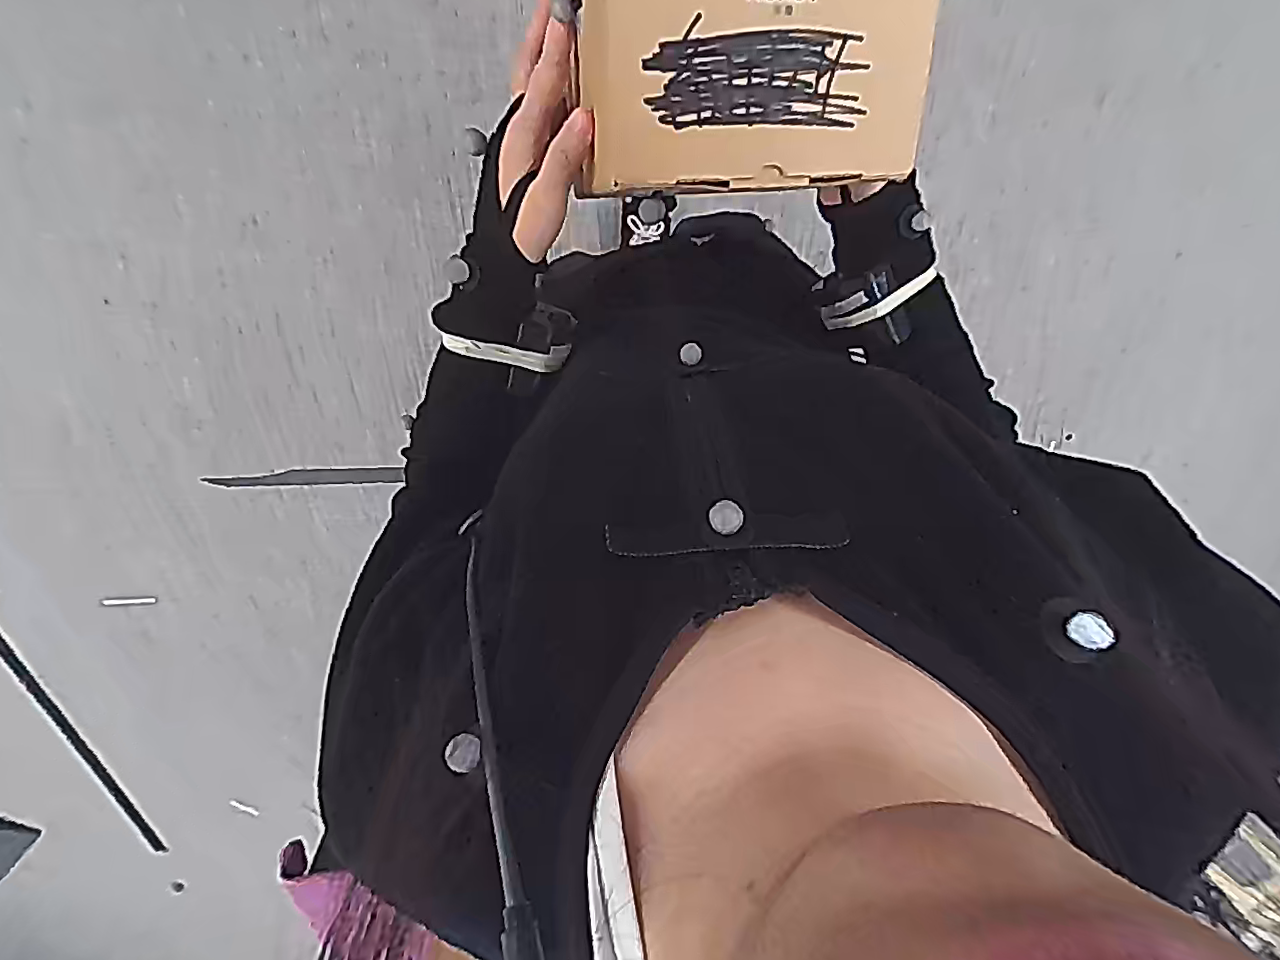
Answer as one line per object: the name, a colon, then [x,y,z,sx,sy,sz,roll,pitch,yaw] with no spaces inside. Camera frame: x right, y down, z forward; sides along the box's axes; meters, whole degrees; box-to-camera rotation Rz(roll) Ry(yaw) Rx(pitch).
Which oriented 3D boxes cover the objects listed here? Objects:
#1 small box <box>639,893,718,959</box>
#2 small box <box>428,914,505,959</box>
small box: [0.088,1.141,1.320,0.168,0.176,0.179,-1,119,-5]
small box: [-0.413,1.171,1.285,0.168,0.176,0.179,3,118,-8]
